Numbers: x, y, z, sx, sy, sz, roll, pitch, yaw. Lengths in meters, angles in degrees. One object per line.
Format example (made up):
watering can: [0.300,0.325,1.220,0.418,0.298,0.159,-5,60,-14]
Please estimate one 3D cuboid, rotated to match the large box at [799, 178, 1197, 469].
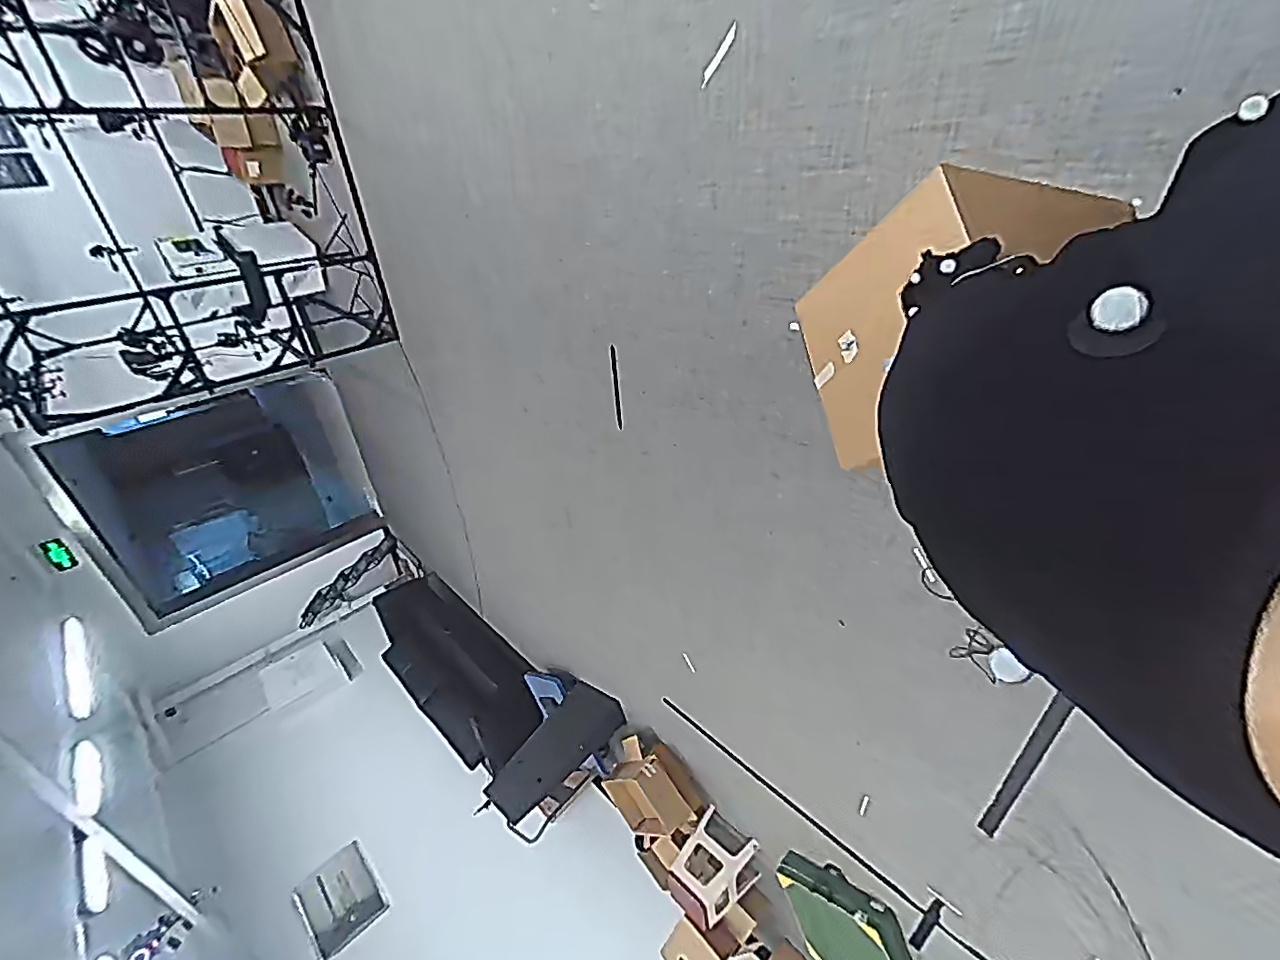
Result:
large box: [0.538,-0.219,0.869,0.320,0.408,0.320,141,123,-63]
